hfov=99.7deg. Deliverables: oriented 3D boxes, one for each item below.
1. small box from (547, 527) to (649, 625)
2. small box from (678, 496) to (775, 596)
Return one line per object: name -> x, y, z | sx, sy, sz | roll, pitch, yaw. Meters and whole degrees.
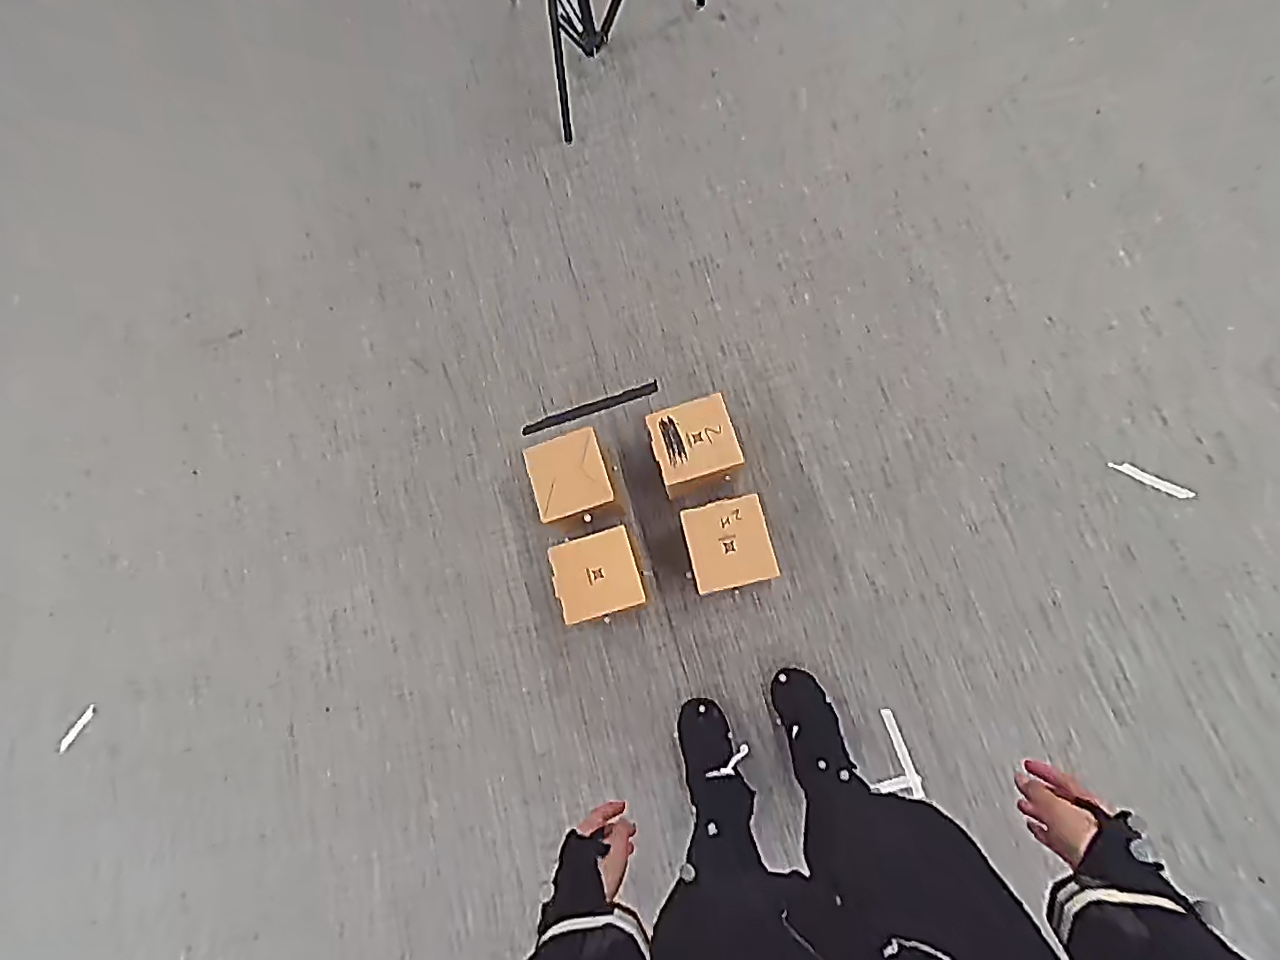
small box -> -0.084, 0.212, 1.195 | 0.179, 0.176, 0.168 | -18, 76, 4
small box -> 0.185, 0.147, 1.171 | 0.168, 0.176, 0.179 | -14, 76, 4
